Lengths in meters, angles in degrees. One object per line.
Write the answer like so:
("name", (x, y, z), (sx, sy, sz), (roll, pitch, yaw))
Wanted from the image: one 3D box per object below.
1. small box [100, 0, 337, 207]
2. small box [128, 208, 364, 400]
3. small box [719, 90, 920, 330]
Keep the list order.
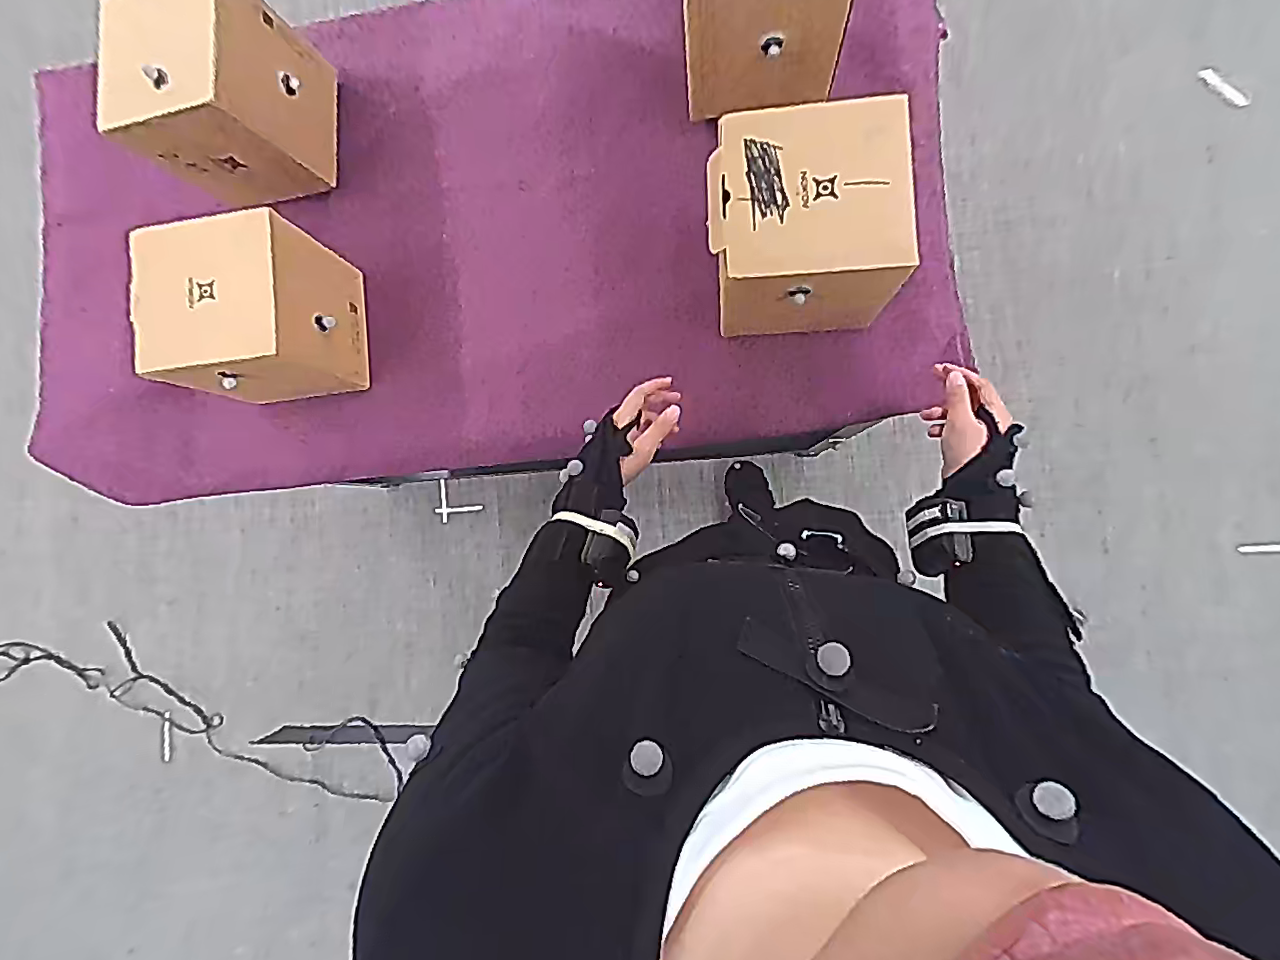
("small box", (-0.508, -0.472, 0.666), (0.179, 0.168, 0.176), (-2, 86, 14))
("small box", (-0.462, -0.200, 0.662), (0.179, 0.176, 0.168), (-6, 87, 7))
("small box", (0.175, -0.269, 0.580), (0.179, 0.176, 0.168), (-2, 86, 7))
